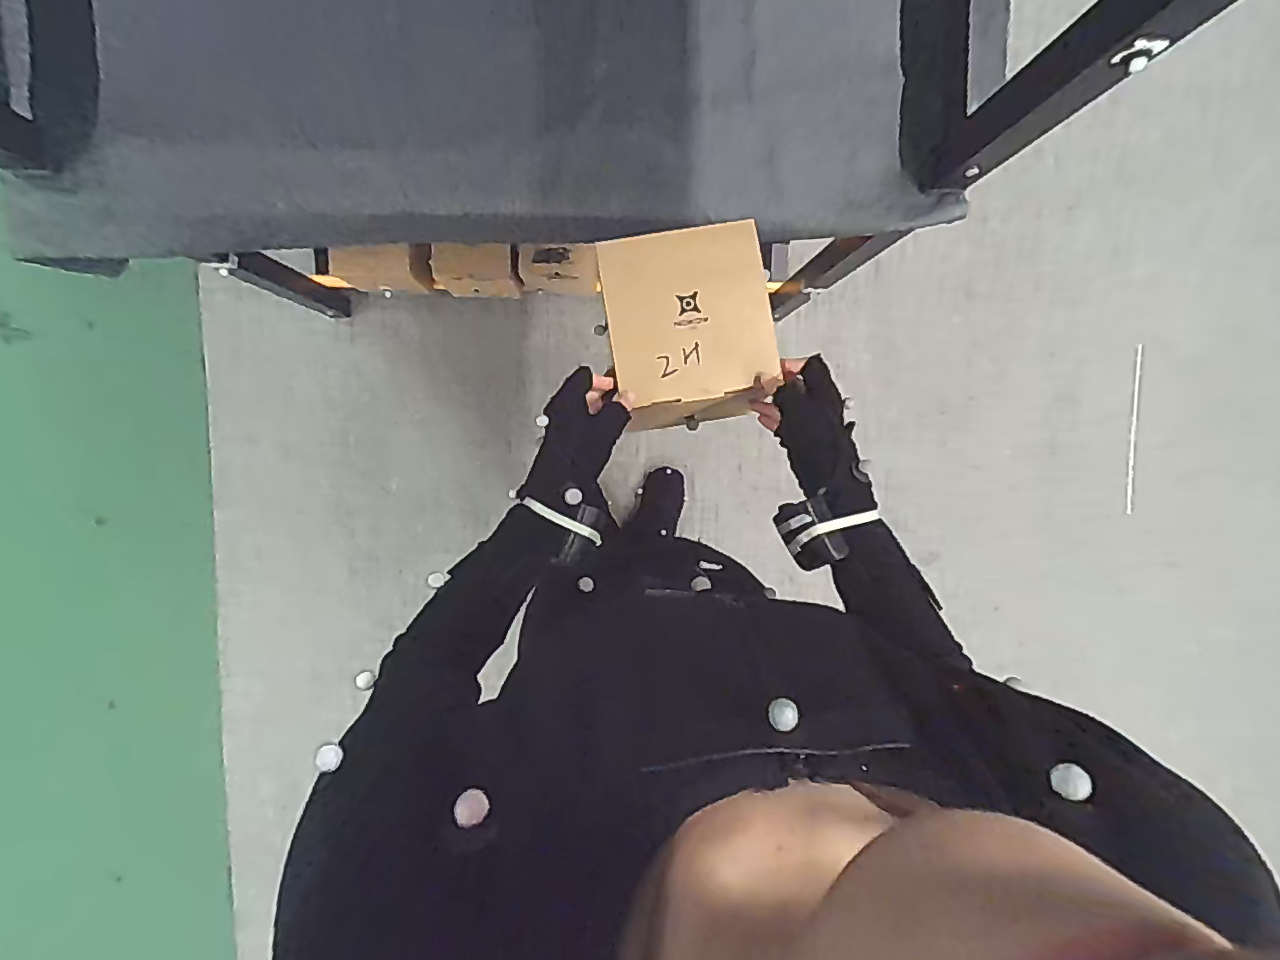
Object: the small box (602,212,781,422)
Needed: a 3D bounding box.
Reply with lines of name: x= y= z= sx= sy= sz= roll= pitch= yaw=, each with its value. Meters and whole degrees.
small box: x=0.051 y=-0.176 z=0.632 sx=0.168 sy=0.176 sz=0.179 roll=-9 pitch=88 yaw=0
